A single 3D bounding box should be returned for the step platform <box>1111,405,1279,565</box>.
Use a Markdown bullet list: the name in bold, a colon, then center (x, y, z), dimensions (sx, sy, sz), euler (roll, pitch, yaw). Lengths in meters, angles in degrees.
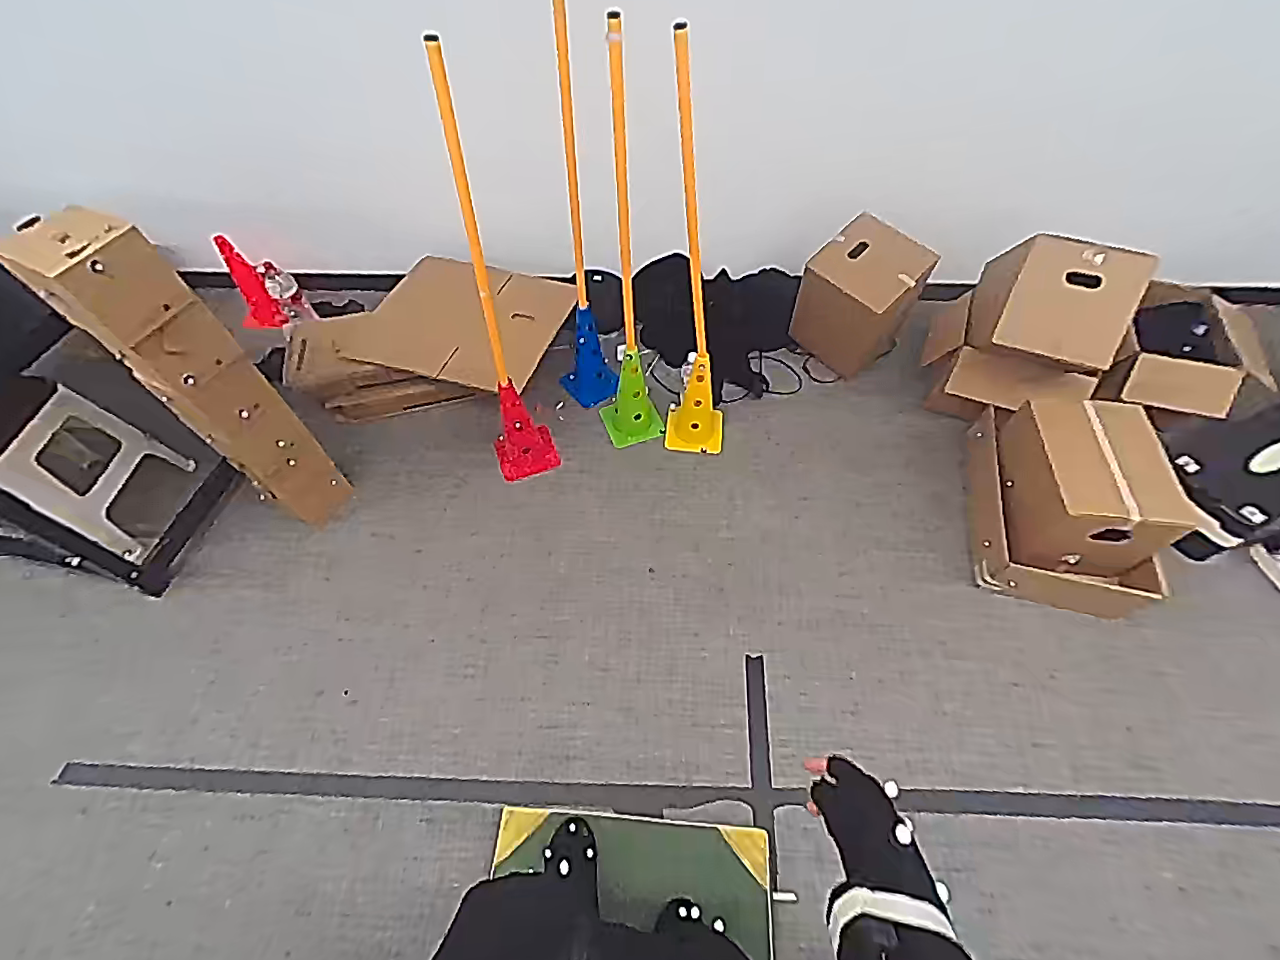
- **step platform**: center (1.905, 0.004, 1.731), dimensions (0.684, 0.204, 0.286), euler (-22, 59, -14)
